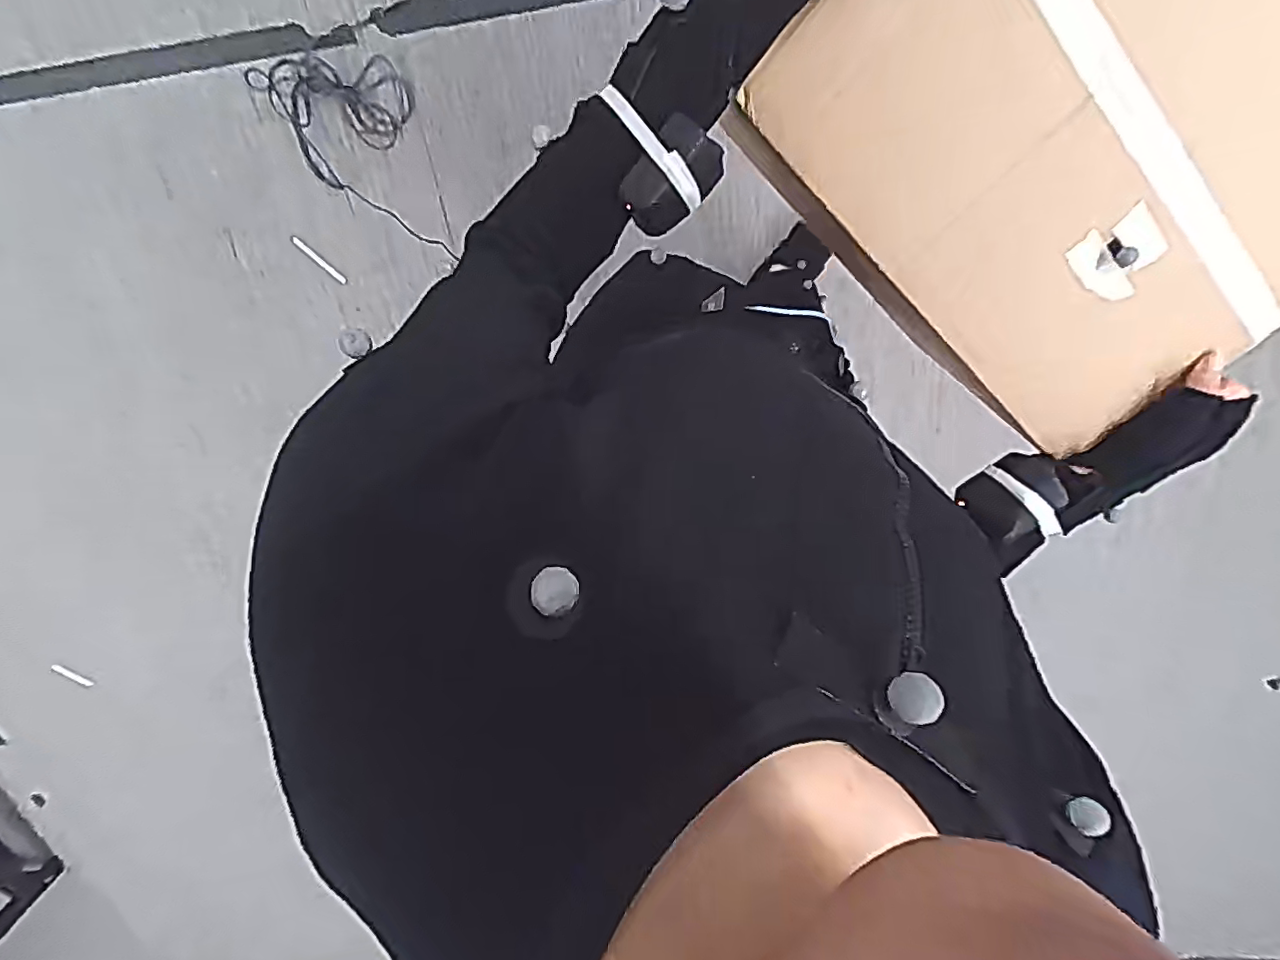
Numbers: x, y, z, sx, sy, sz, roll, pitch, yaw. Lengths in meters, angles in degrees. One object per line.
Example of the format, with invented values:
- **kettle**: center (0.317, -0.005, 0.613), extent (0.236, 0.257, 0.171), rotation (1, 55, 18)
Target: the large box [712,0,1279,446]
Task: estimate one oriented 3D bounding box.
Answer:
- **large box**: center (0.319, -0.314, 0.483), extent (0.408, 0.320, 0.320), rotation (38, 118, -19)
